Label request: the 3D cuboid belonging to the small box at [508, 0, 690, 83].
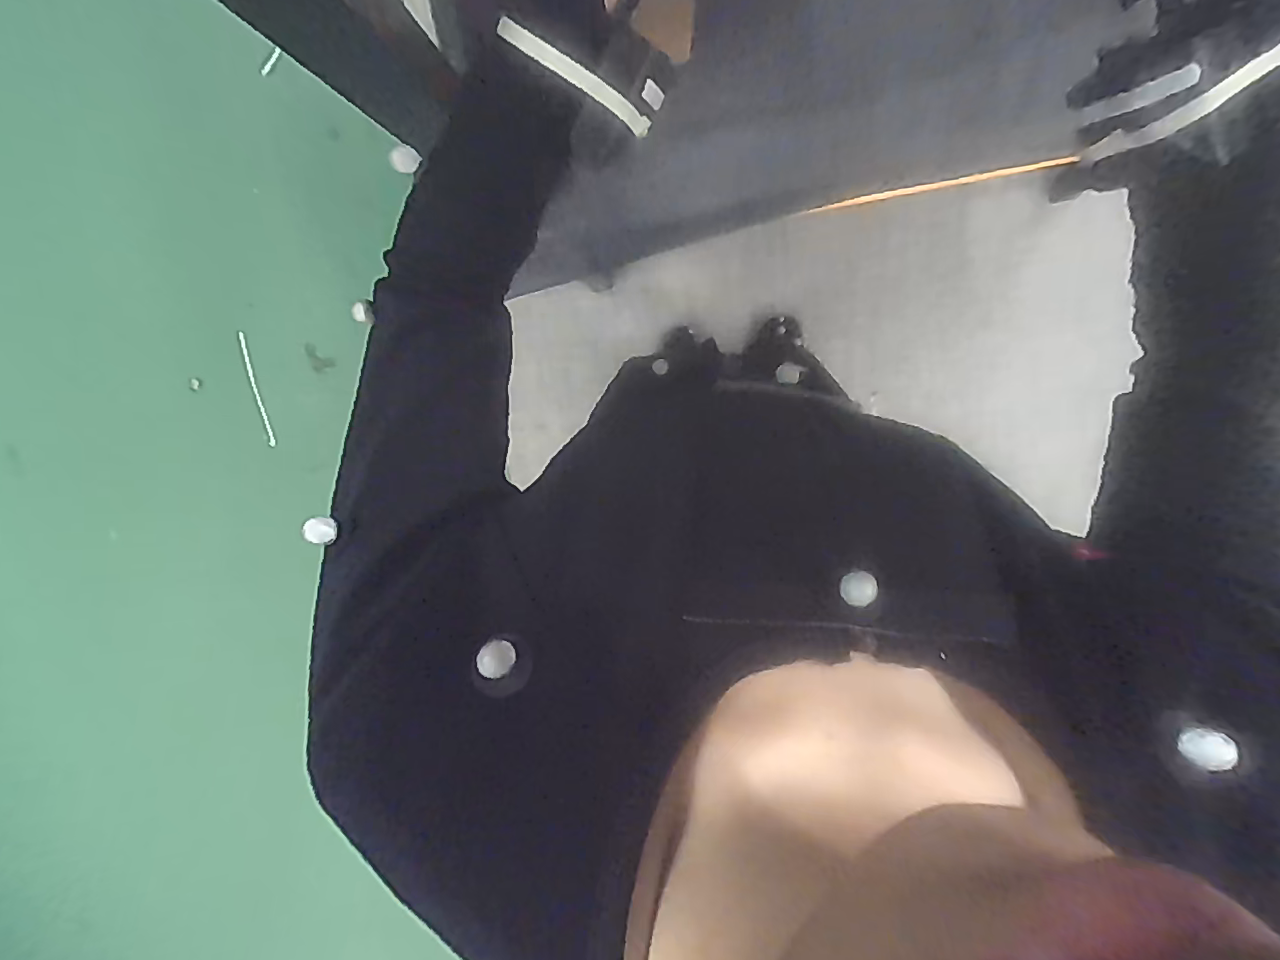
[{"bbox_3d":[-0.040,-0.525,0.529,0.168,0.176,0.179,-6,102,4],"label":"small box"}]
